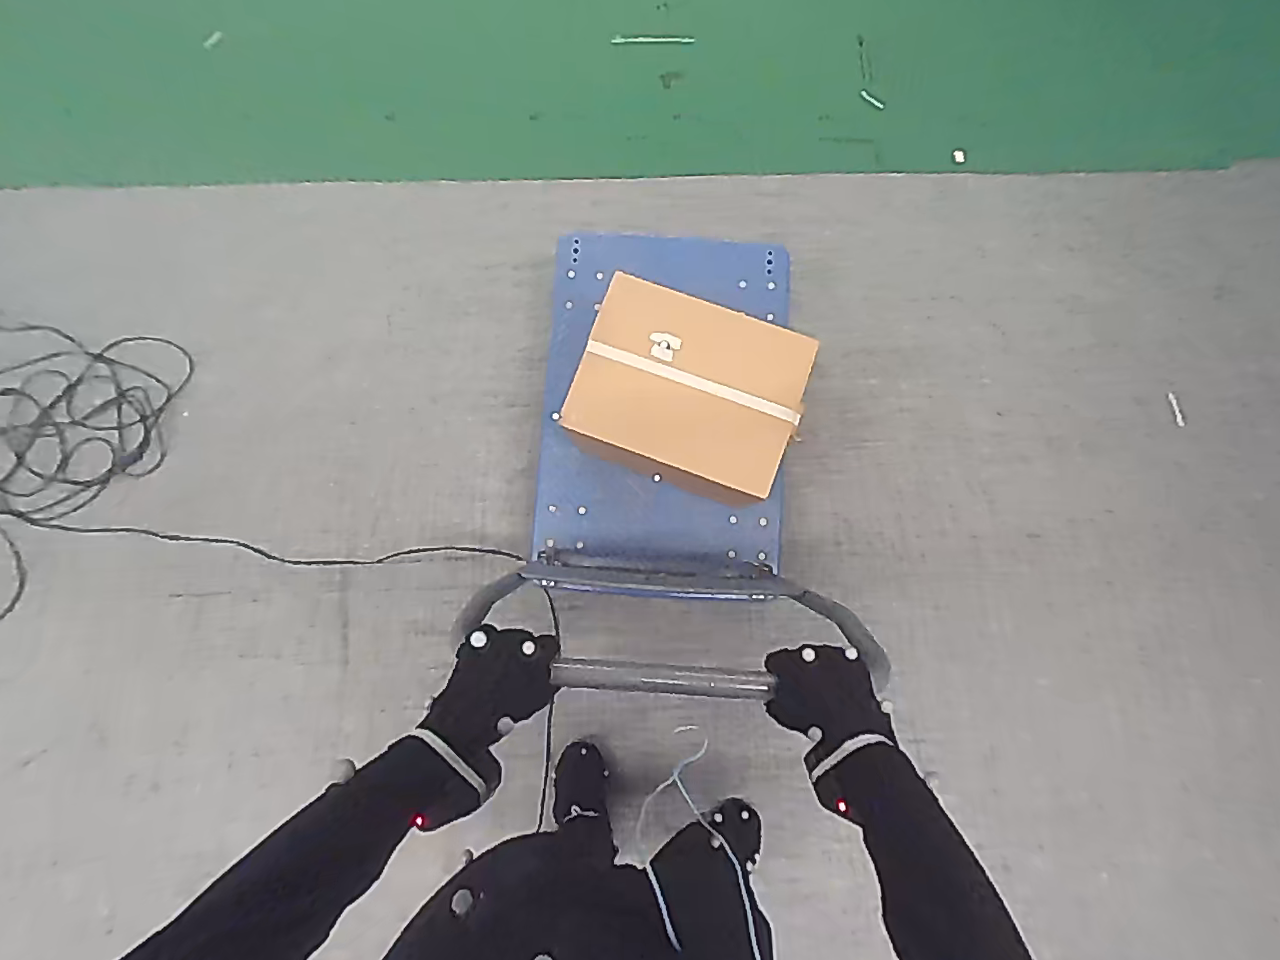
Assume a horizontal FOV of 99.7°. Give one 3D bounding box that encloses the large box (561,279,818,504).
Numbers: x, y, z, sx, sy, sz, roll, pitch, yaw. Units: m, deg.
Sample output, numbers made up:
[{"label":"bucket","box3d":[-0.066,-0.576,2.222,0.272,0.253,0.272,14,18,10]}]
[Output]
[{"label":"large box","box3d":[0.098,-0.157,1.132,0.408,0.320,0.320,19,84,4]}]
